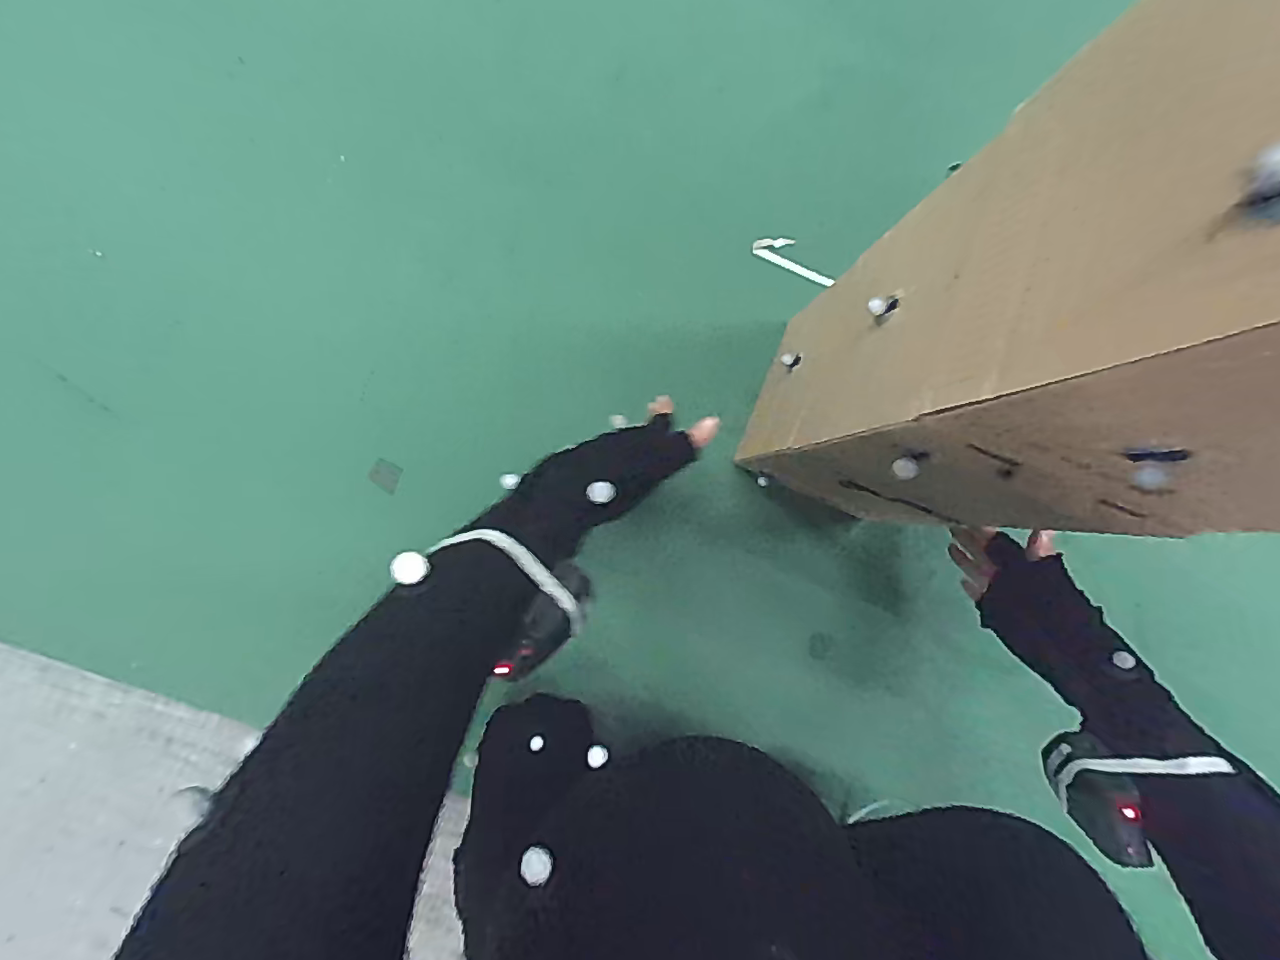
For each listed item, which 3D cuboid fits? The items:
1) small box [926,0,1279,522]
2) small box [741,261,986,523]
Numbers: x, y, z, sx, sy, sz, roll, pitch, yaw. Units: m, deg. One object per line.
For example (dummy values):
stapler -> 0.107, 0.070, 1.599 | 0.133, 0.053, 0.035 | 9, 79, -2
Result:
small box -> 0.246, -0.089, 0.204 | 0.168, 0.176, 0.179 | 19, 86, -5
small box -> 0.214, -0.070, 0.529 | 0.168, 0.176, 0.179 | 23, 85, -5
